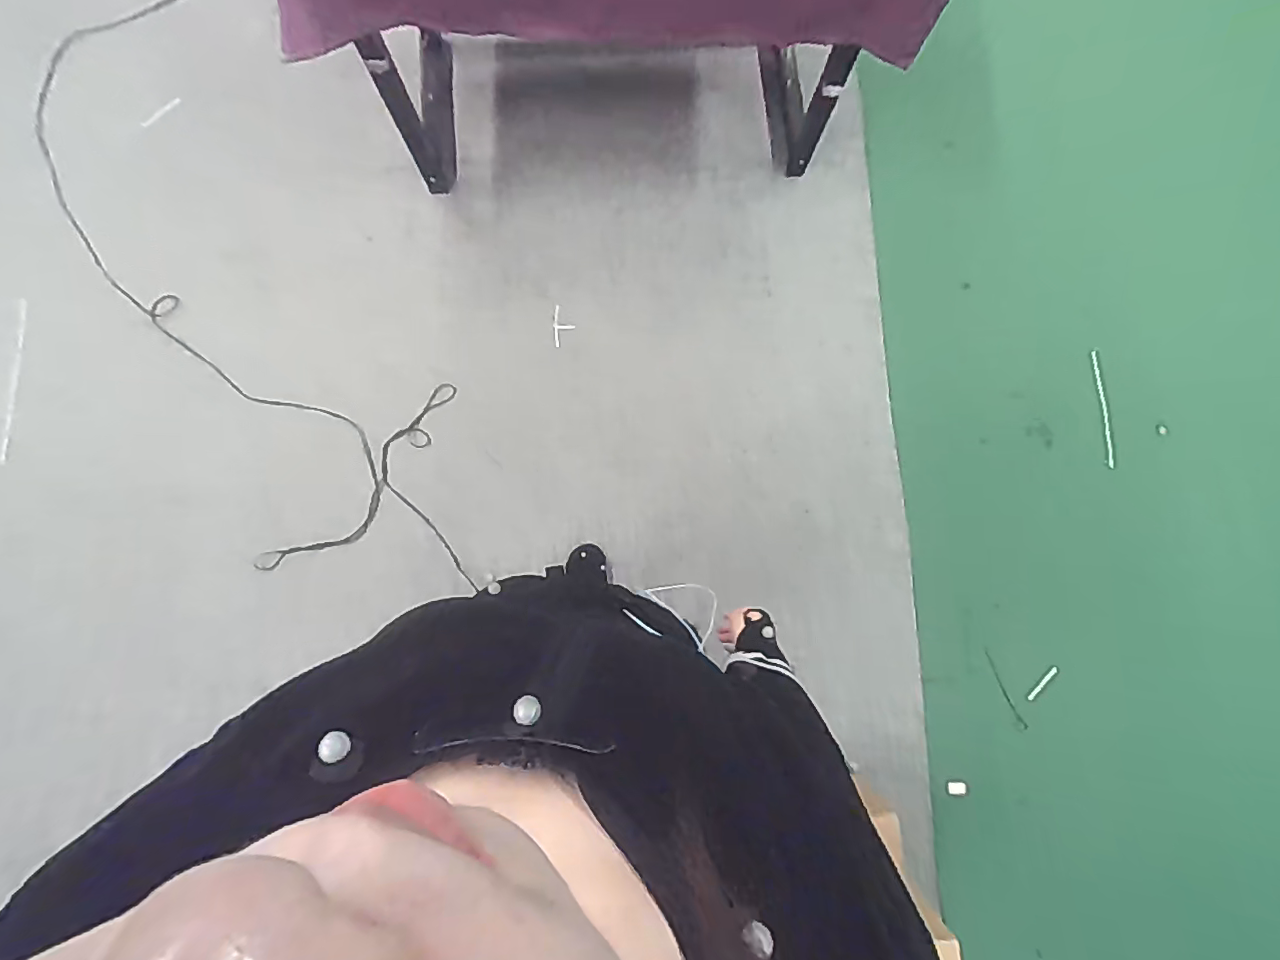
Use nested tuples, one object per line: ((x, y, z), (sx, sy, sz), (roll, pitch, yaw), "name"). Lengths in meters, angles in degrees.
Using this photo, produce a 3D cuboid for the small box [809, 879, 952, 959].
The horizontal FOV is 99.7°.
((0.383, 0.784, 0.878), (0.168, 0.176, 0.179), (0, 82, -2), "small box")
